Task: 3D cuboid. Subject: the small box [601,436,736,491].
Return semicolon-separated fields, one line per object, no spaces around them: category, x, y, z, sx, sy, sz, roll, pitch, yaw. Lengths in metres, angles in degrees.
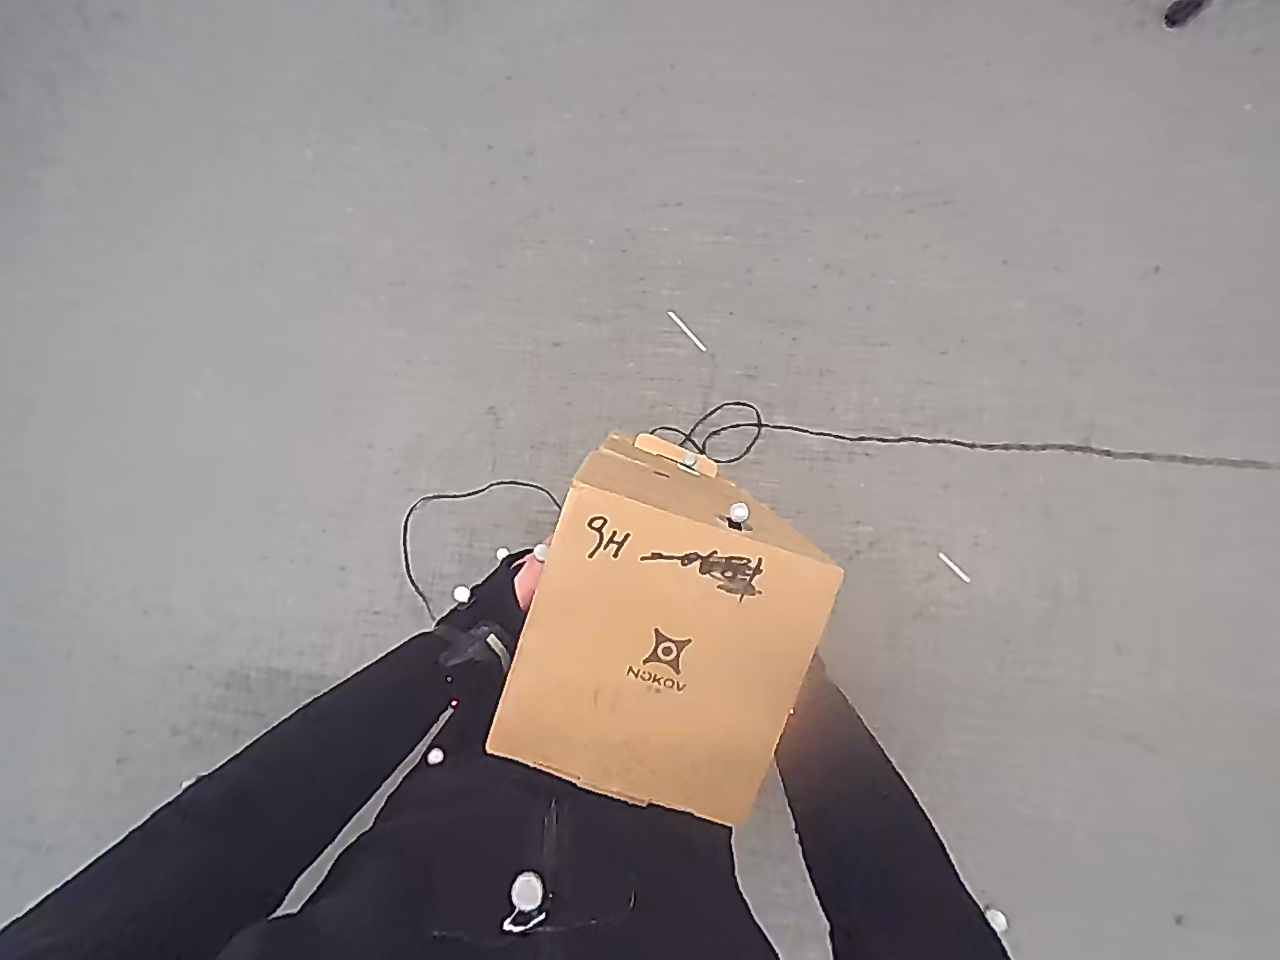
small box;0.006;0.048;0.706;0.168;0.176;0.179;20;96;-2

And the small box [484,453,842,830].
small box;0.010;0.092;0.383;0.168;0.176;0.179;16;99;-4
